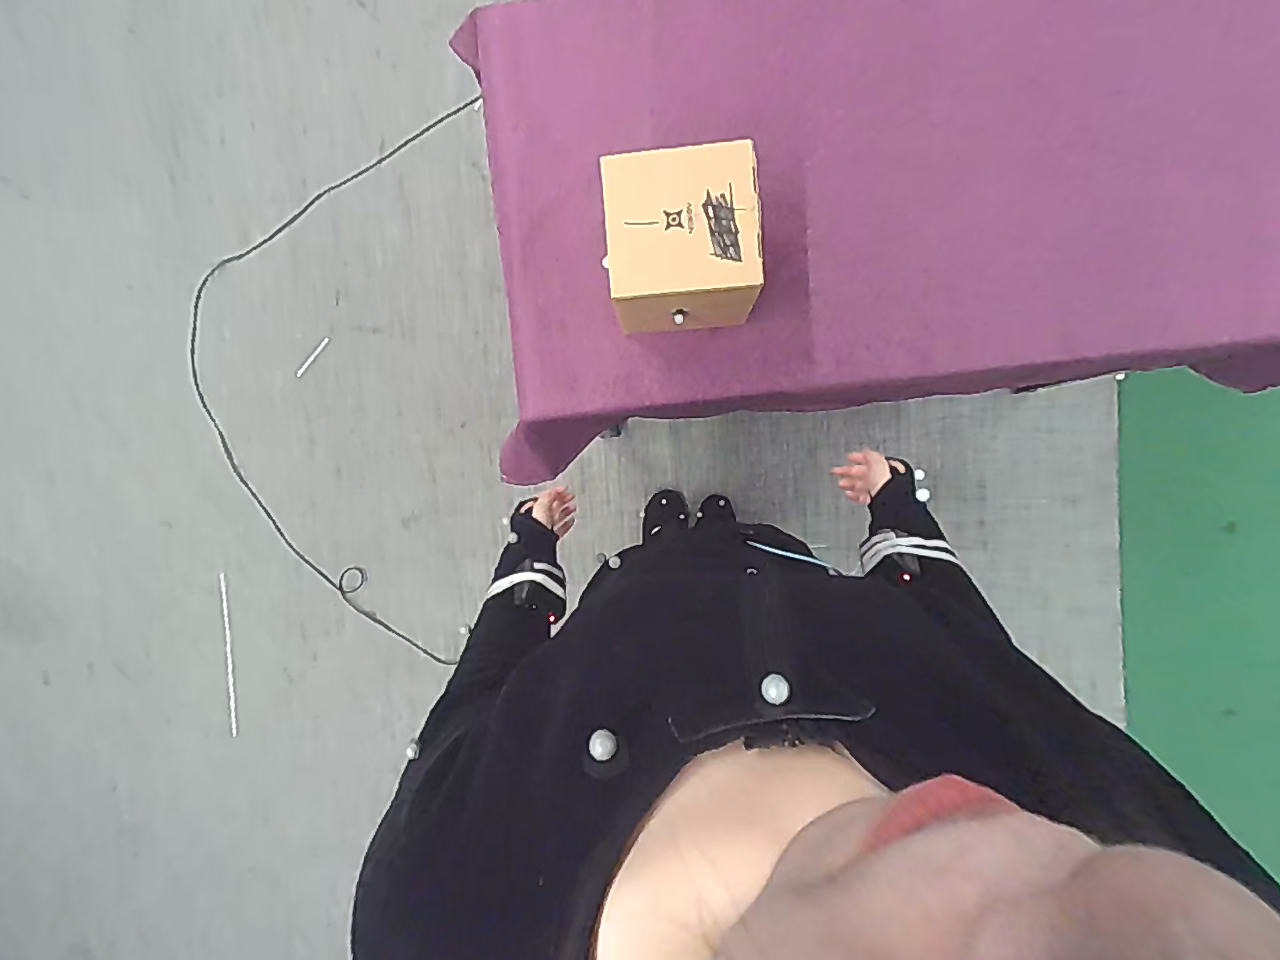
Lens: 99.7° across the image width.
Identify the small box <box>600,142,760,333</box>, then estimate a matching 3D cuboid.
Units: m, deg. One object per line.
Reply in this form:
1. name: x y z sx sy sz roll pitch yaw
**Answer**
1. small box: 0.049 -0.296 0.694 0.179 0.176 0.168 -4 90 4
